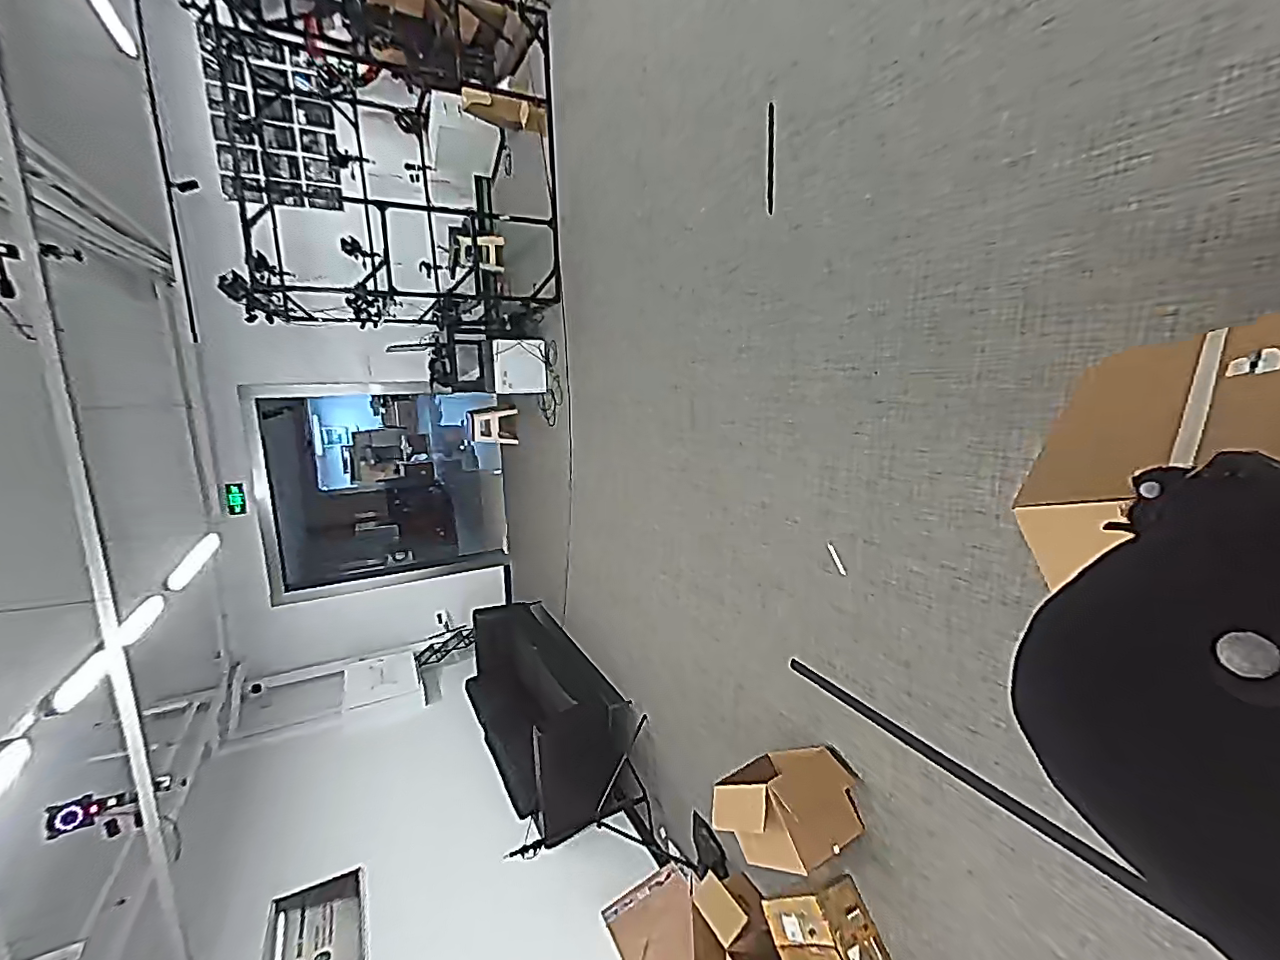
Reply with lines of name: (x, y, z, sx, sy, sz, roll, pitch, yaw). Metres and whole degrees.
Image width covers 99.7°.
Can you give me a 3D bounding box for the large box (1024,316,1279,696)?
large box: (0.782, 0.025, 0.703, 0.320, 0.408, 0.320, -11, 115, 57)
